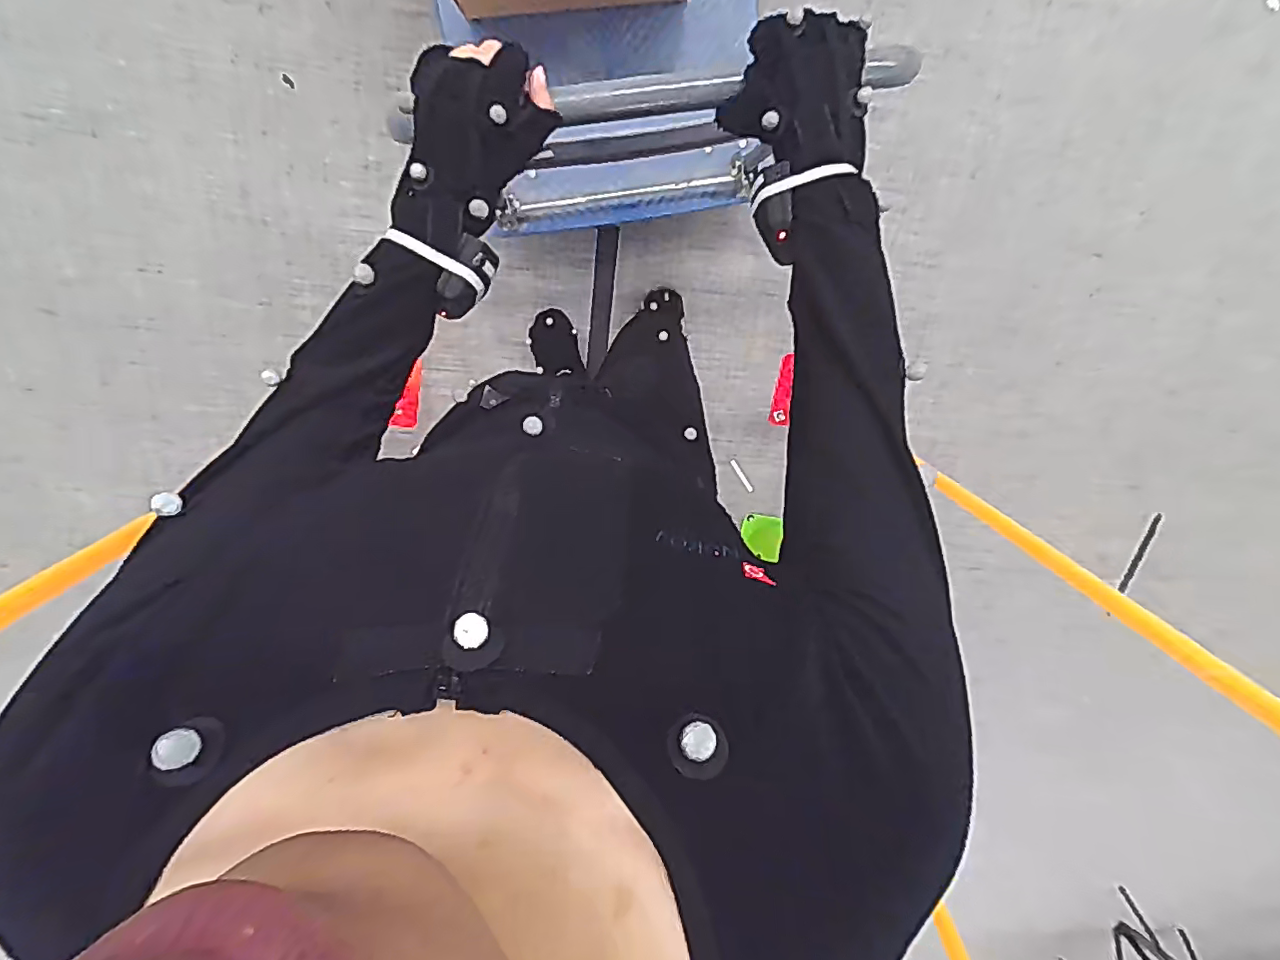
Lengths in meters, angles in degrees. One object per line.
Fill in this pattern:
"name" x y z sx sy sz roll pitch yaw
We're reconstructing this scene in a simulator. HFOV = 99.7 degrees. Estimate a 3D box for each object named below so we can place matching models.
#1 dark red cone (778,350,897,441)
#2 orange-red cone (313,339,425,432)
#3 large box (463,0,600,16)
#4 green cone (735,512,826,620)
"dark red cone" 0.491 -0.174 1.292 0.201 0.394 0.202 3 113 -8
"orange-red cone" -0.641 -0.181 1.221 0.198 0.360 0.199 11 111 -10
"large box" -0.115 -0.931 0.778 0.408 0.320 0.320 -7 114 -1
"green cone" 0.418 0.262 1.493 0.202 0.368 0.200 7 113 -9
